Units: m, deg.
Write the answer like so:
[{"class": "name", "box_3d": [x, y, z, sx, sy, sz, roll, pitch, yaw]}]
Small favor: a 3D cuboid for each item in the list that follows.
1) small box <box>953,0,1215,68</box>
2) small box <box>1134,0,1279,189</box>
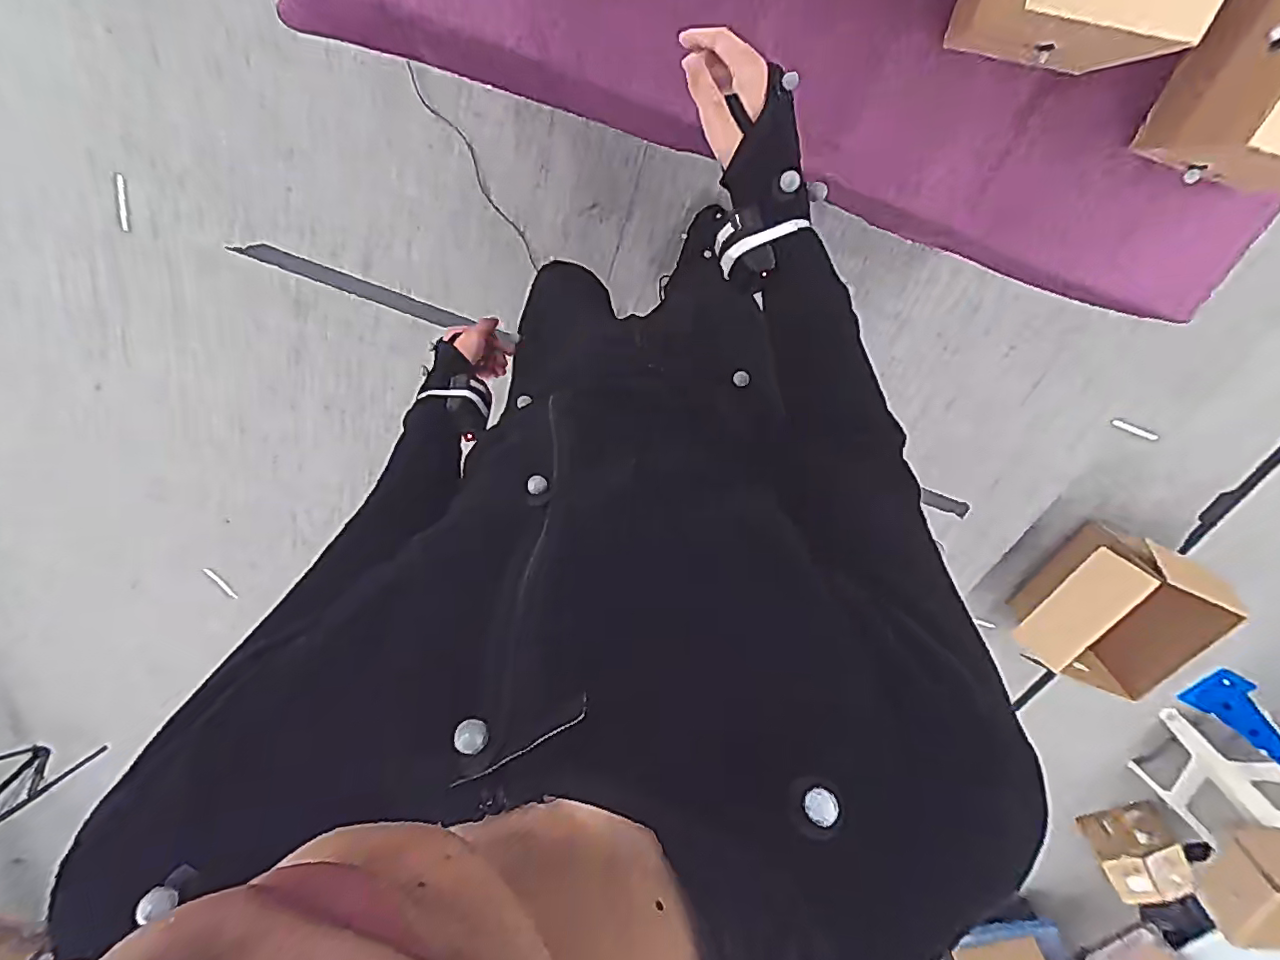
[{"class": "small box", "box_3d": [0.433, -0.517, 0.509, 0.168, 0.176, 0.179, 10, 119, -3]}, {"class": "small box", "box_3d": [0.682, -0.416, 0.553, 0.168, 0.176, 0.179, 15, 119, -5]}]
